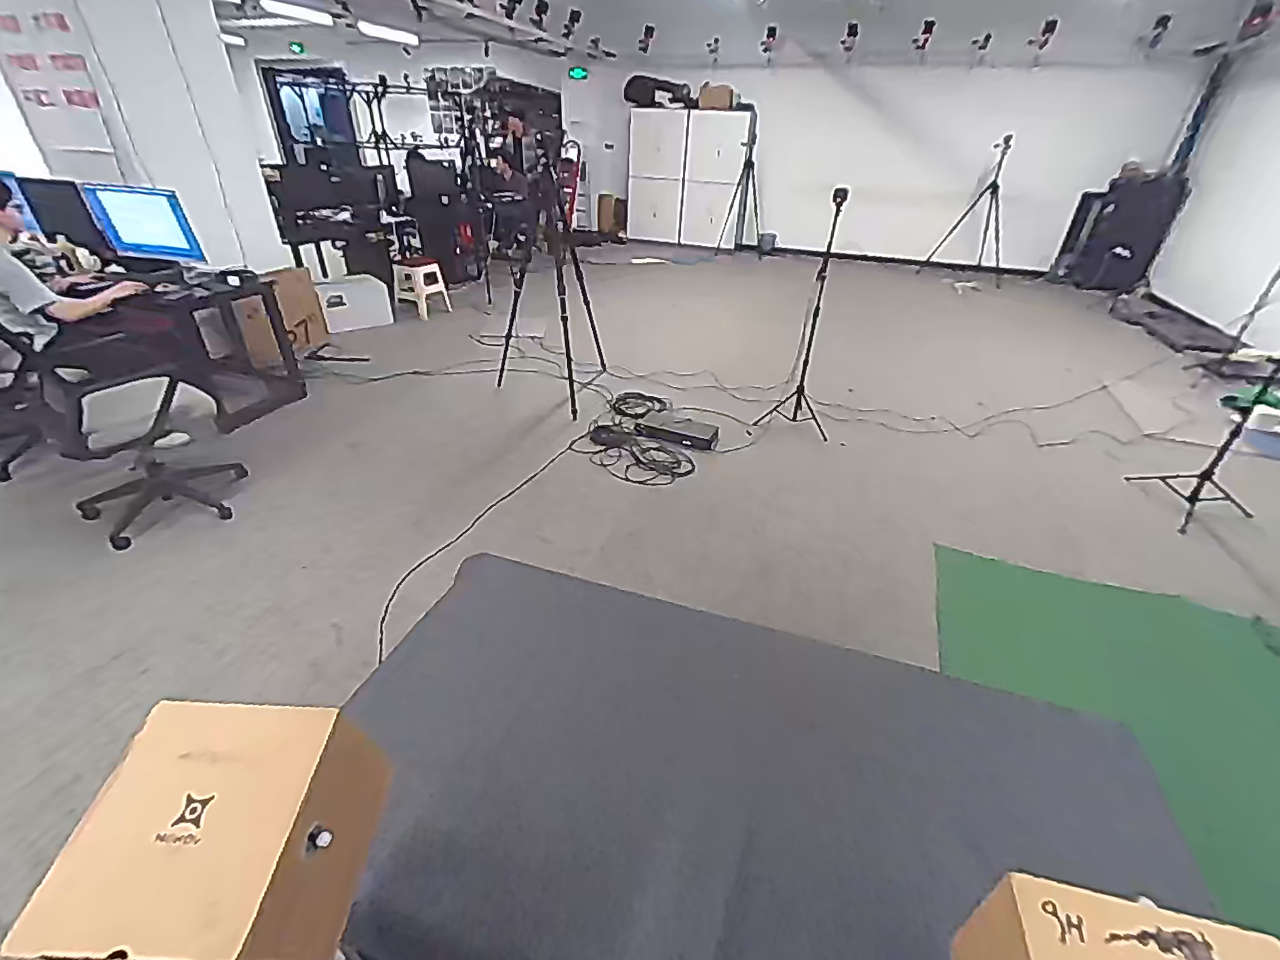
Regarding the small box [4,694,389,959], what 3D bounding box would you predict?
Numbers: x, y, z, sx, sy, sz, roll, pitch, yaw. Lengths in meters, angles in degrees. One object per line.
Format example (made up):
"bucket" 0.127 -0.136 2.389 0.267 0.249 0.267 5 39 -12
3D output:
"small box" -0.350 0.311 0.479 0.168 0.176 0.179 2 47 0
